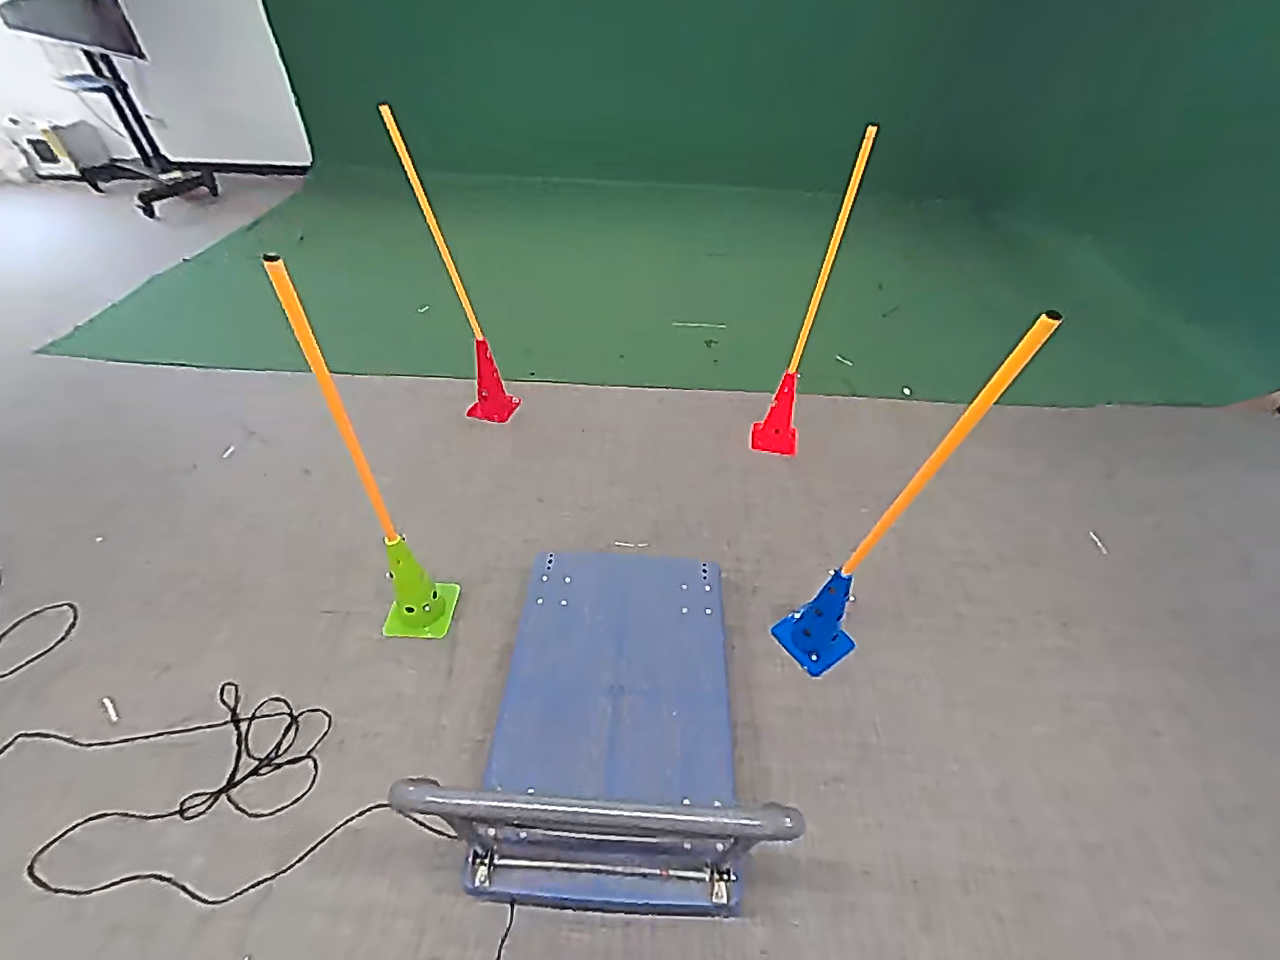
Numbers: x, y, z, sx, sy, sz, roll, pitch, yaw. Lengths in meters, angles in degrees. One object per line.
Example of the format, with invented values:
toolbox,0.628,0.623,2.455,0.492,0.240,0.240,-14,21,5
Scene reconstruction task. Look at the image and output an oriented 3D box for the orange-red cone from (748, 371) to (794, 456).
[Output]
orange-red cone,0.591,-0.301,2.293,0.198,0.360,0.199,10,45,9
